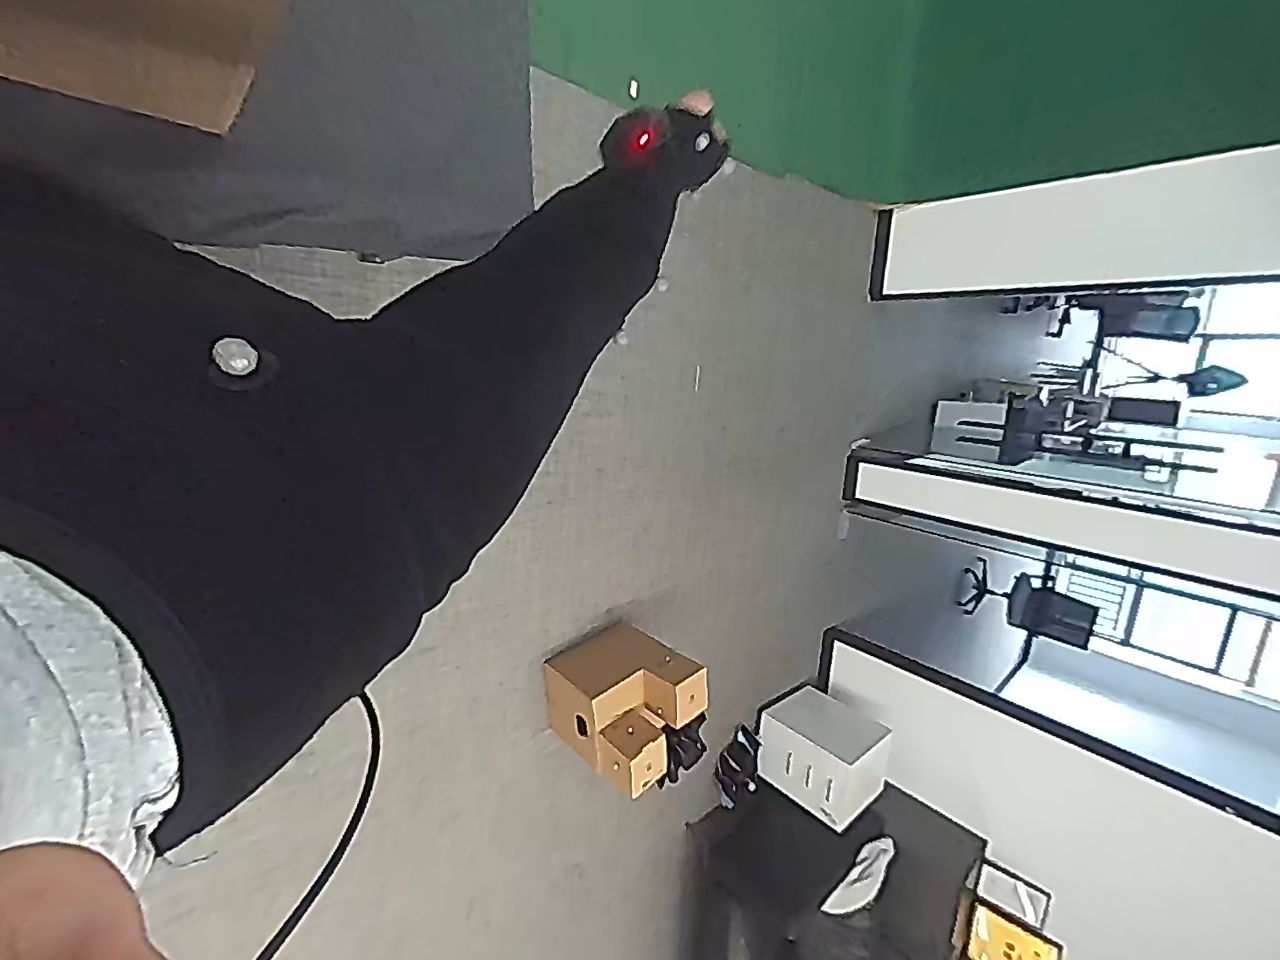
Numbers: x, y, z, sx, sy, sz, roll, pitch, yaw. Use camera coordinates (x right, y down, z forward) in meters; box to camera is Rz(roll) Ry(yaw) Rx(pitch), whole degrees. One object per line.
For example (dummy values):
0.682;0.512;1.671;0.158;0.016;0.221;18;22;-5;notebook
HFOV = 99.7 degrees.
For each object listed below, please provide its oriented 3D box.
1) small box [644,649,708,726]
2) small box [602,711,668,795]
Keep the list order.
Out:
0.133;0.756;1.989;0.168;0.176;0.179;-17;108;-40;small box
-0.020;0.942;1.892;0.168;0.176;0.179;-20;116;-38;small box
